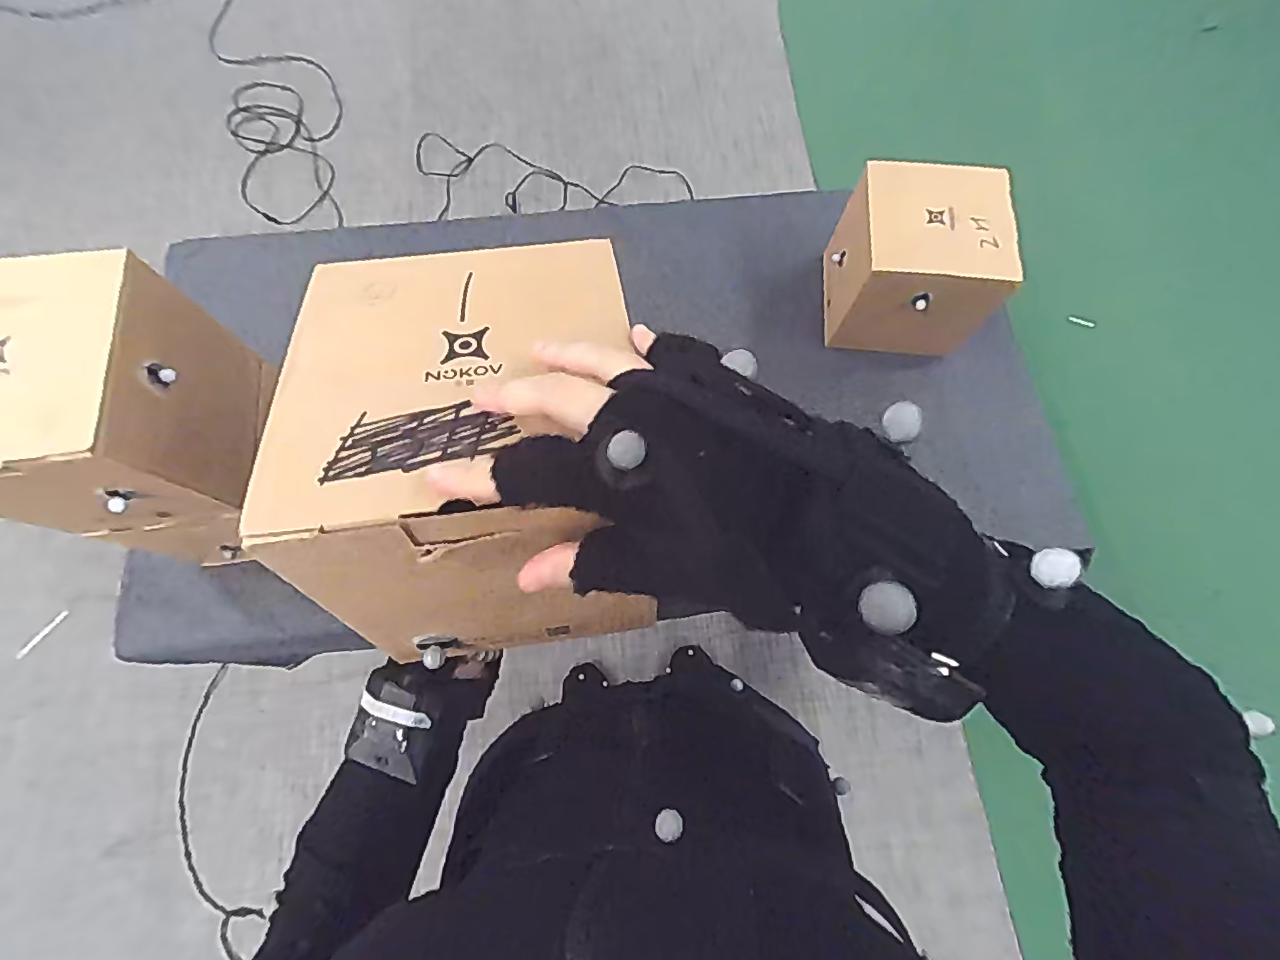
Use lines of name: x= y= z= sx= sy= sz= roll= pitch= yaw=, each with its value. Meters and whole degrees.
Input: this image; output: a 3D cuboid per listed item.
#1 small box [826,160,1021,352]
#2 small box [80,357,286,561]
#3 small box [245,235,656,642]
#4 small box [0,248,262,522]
small box: x=0.356 y=-0.286 z=0.717 sx=0.179 sy=0.176 sz=0.168 roll=5 pitch=73 yaw=1
small box: x=-0.468 y=-0.016 z=0.622 sx=0.168 sy=0.176 sz=0.179 roll=-8 pitch=73 yaw=-4
small box: x=-0.082 y=-0.015 z=0.324 sx=0.168 sy=0.176 sz=0.179 roll=-7 pitch=55 yaw=-5
small box: x=-0.465 y=-0.067 z=0.467 sx=0.168 sy=0.176 sz=0.179 roll=-6 pitch=72 yaw=-4
